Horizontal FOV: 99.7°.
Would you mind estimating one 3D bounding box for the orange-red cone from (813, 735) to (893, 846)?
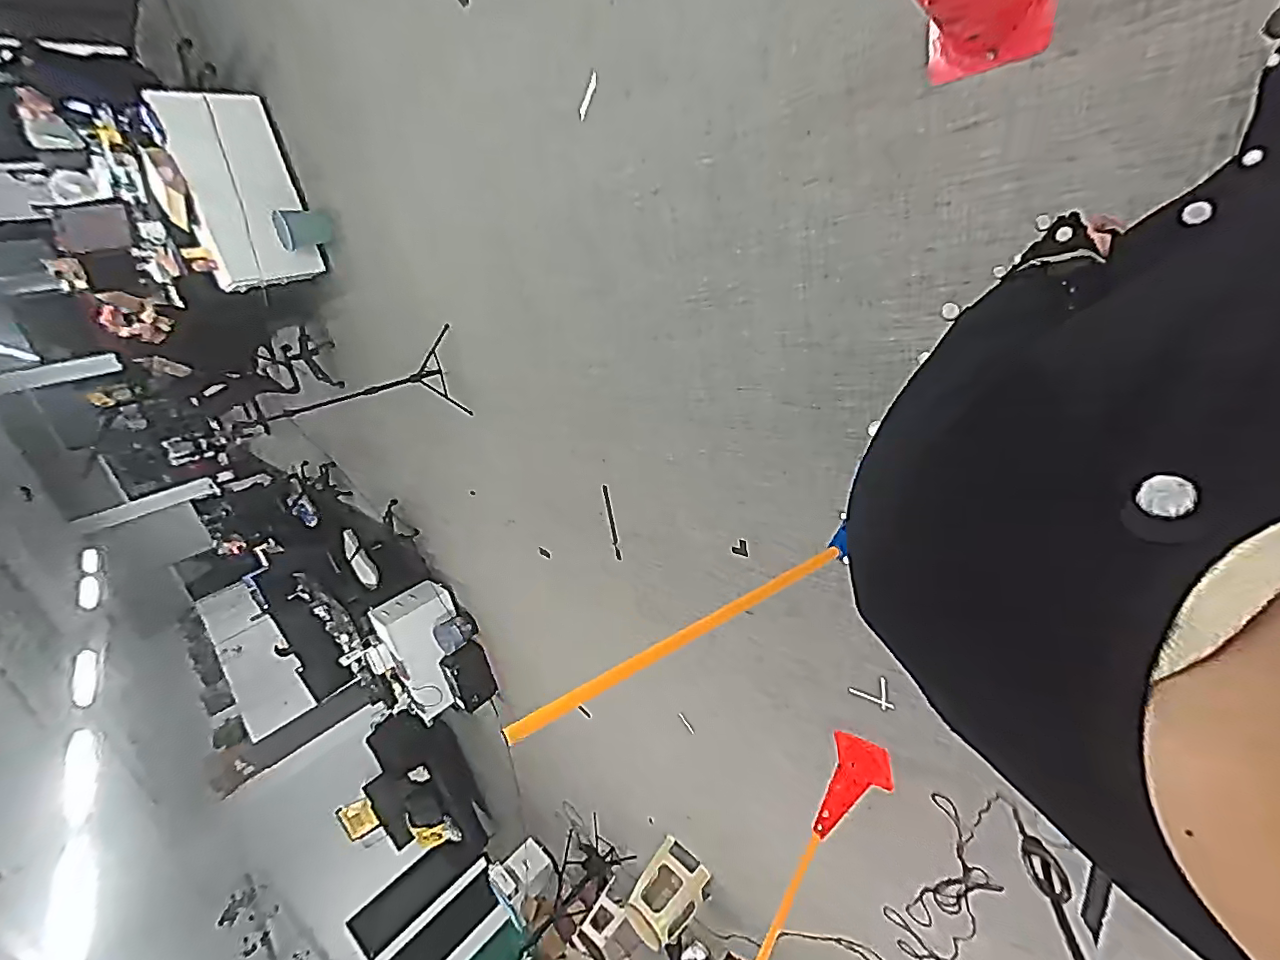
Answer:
[{"bbox_3d":[0.698,1.099,1.857,0.199,0.360,0.198,5,117,46],"label":"orange-red cone"}]
